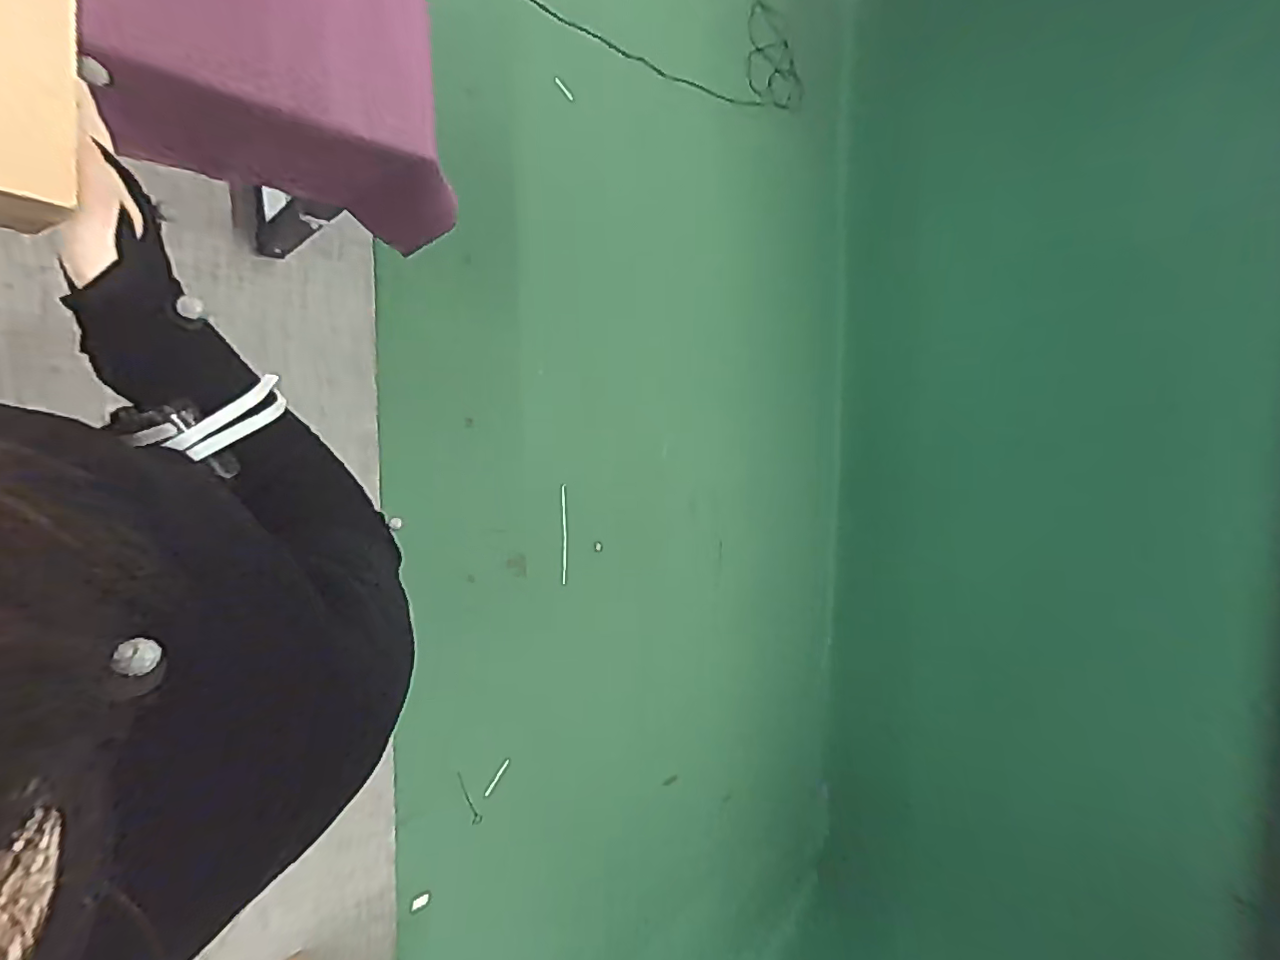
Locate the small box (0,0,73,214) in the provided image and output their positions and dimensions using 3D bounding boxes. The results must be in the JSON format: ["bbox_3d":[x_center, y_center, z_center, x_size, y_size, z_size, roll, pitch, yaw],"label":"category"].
[{"bbox_3d":[-0.369,-0.232,0.229,0.168,0.176,0.179,-2,104,-53],"label":"small box"}]
